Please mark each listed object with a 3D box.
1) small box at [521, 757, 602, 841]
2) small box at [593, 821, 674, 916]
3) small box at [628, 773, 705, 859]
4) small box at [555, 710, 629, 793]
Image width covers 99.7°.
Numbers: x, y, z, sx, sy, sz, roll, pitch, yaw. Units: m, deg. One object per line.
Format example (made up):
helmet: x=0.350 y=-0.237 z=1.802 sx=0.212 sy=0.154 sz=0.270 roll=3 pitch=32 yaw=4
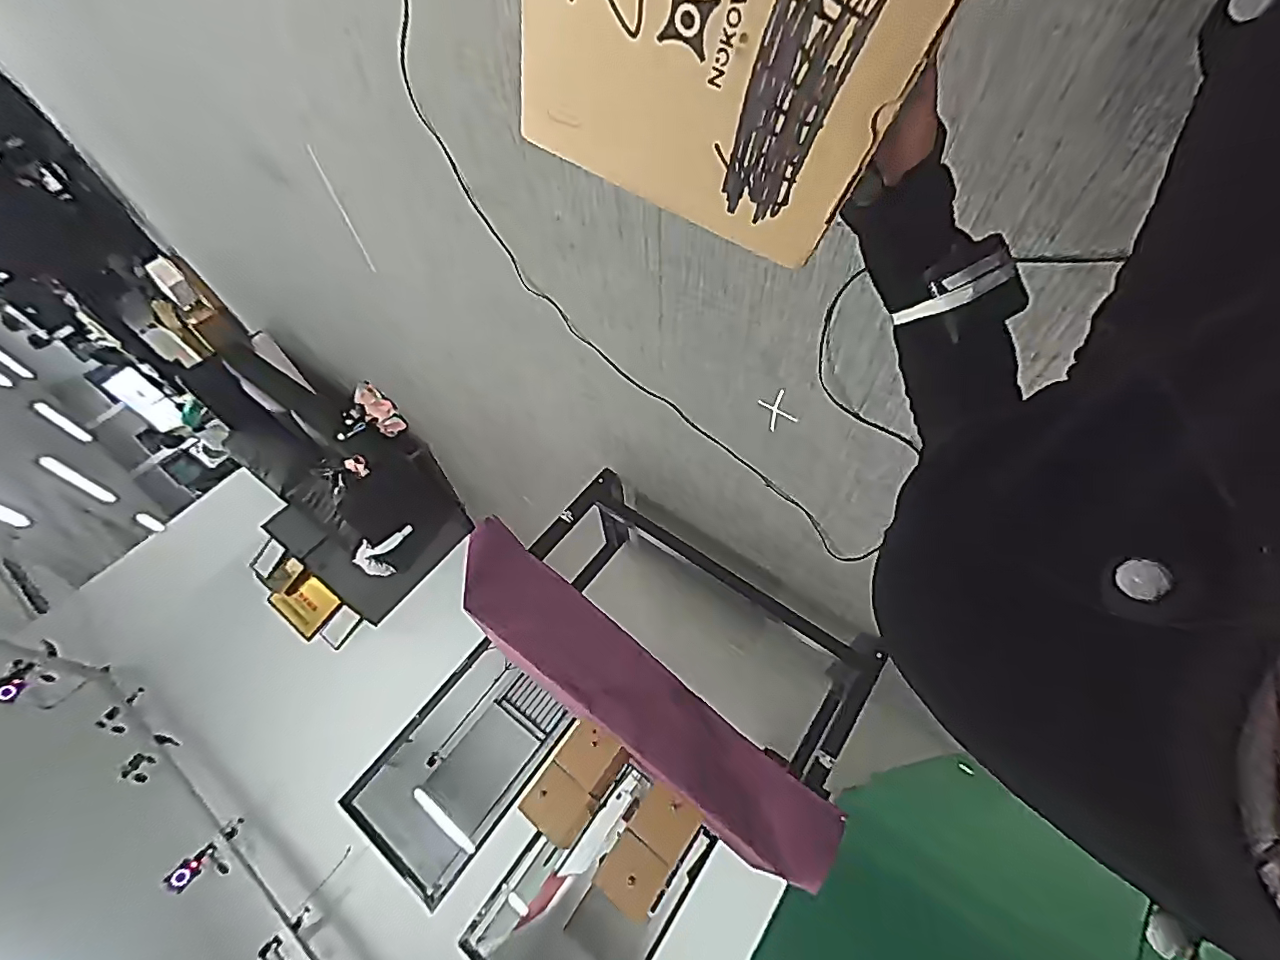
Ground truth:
small box: x=-0.249 y=1.022 z=1.746 sx=0.179 sy=0.176 sz=0.168 roll=28 pitch=153 yaw=26
small box: x=-0.015 y=1.163 z=1.634 sx=0.179 sy=0.176 sz=0.168 roll=30 pitch=153 yaw=22
small box: x=0.085 y=1.051 z=1.701 sx=0.179 sy=0.176 sz=0.168 roll=31 pitch=154 yaw=23
small box: x=-0.153 y=0.911 z=1.817 sx=0.168 sy=0.176 sz=0.179 roll=27 pitch=151 yaw=27
